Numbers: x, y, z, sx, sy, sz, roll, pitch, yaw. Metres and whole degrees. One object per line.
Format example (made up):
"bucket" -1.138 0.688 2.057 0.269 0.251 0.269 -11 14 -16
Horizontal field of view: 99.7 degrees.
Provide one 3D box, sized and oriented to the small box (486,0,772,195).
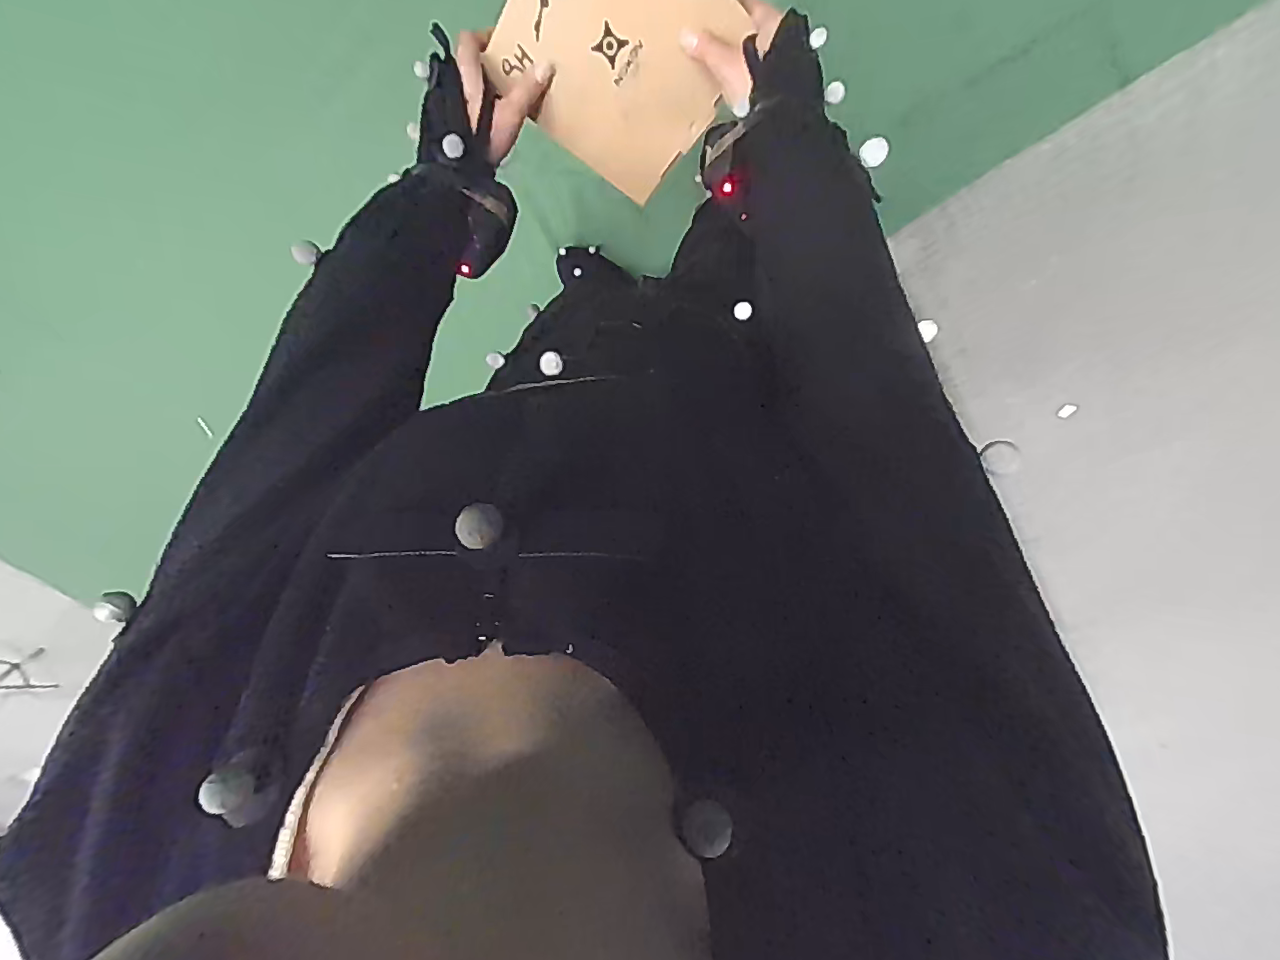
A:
"small box" -0.009 -0.410 0.488 0.179 0.176 0.168 28 131 -27
